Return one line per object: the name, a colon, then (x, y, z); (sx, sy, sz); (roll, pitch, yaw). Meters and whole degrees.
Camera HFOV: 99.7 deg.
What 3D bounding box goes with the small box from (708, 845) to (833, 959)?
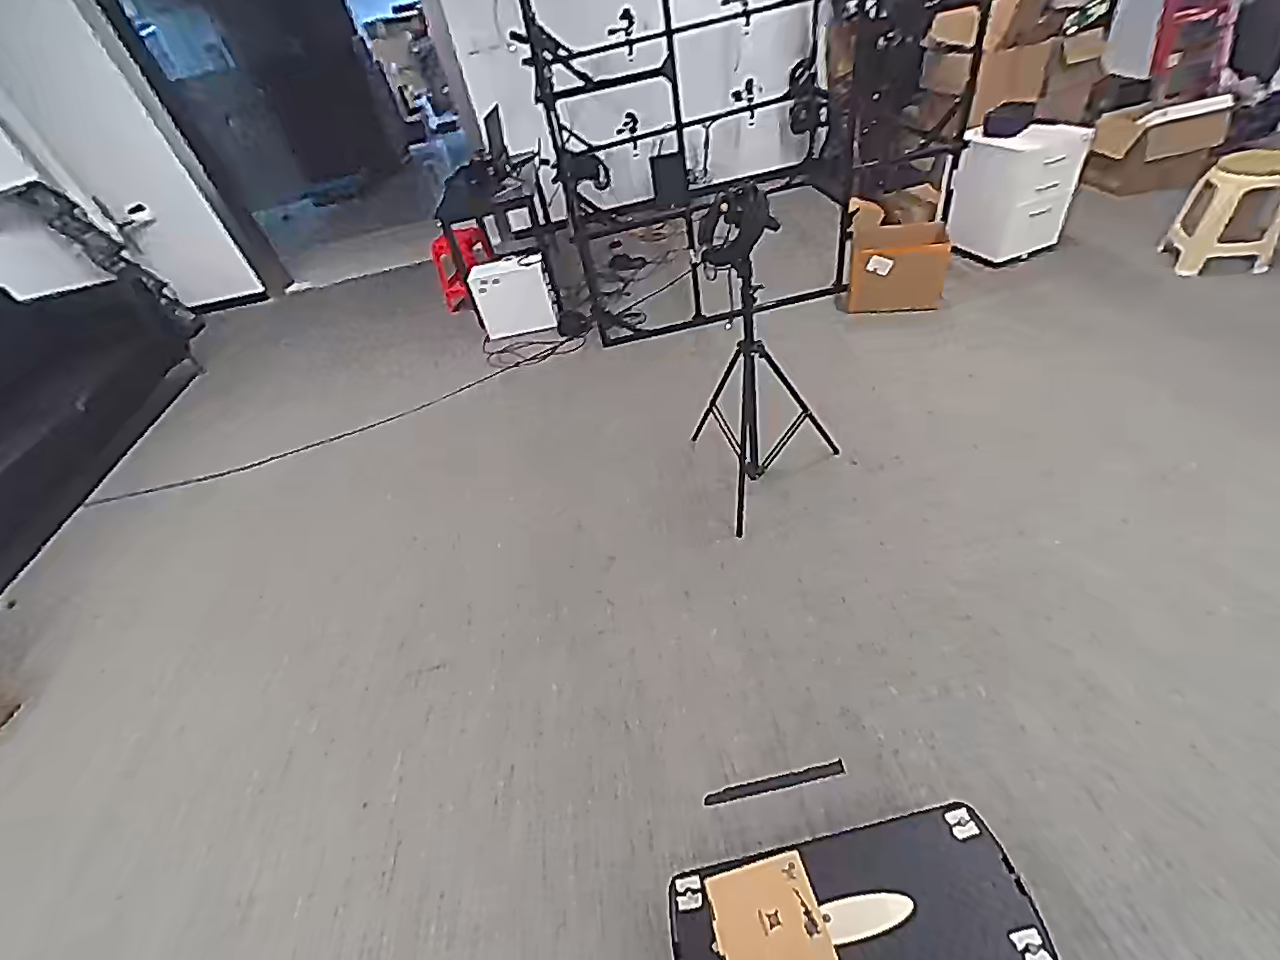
small box: (0.223, 0.788, 0.961); (0.179, 0.176, 0.168); (-16, 42, -2)
